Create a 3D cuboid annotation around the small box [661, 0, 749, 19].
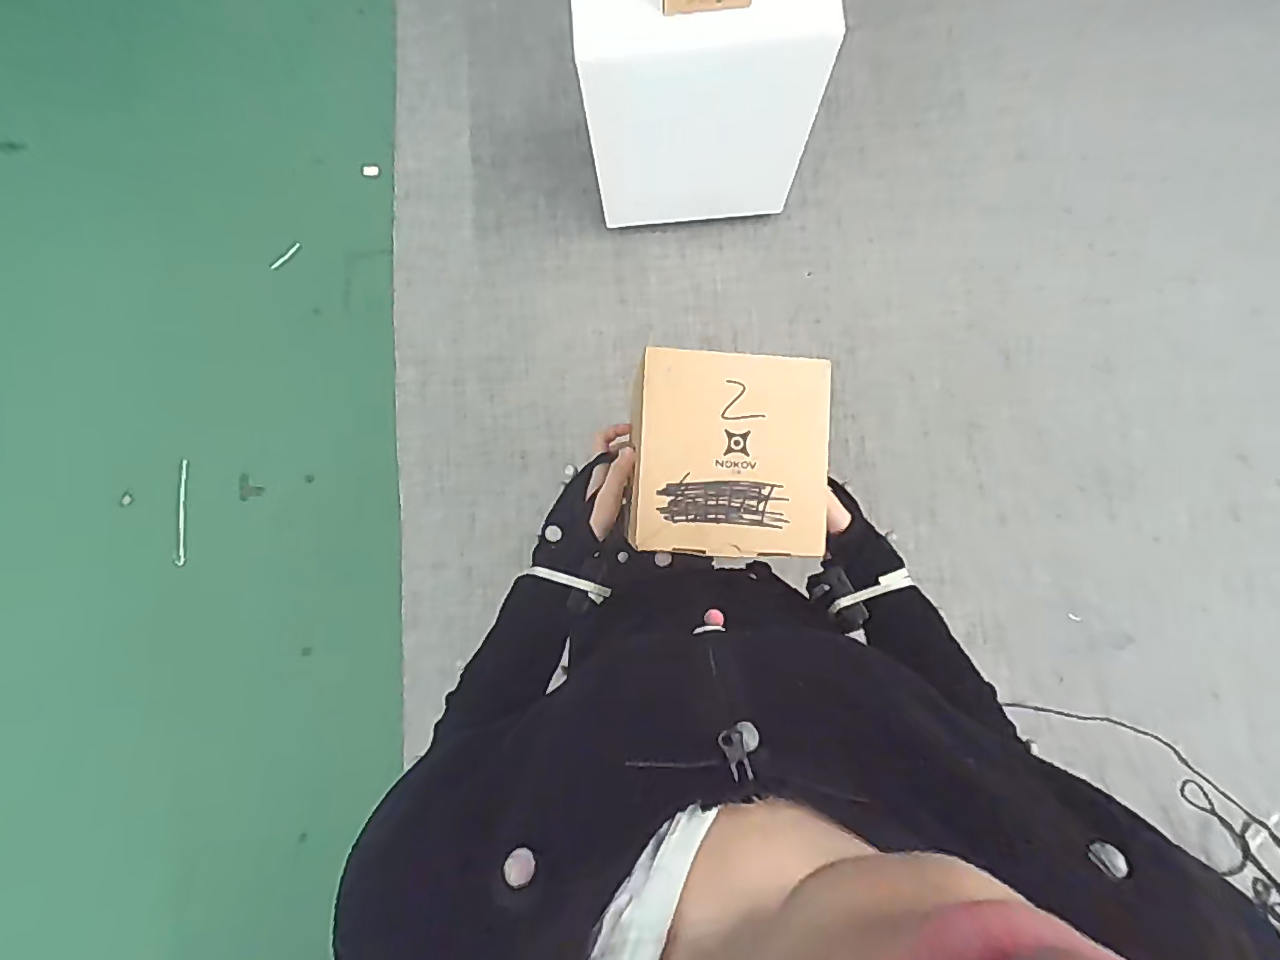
[{"bbox_3d":[0.113,-0.965,0.945,0.168,0.176,0.179,-5,82,2],"label":"small box"}]
